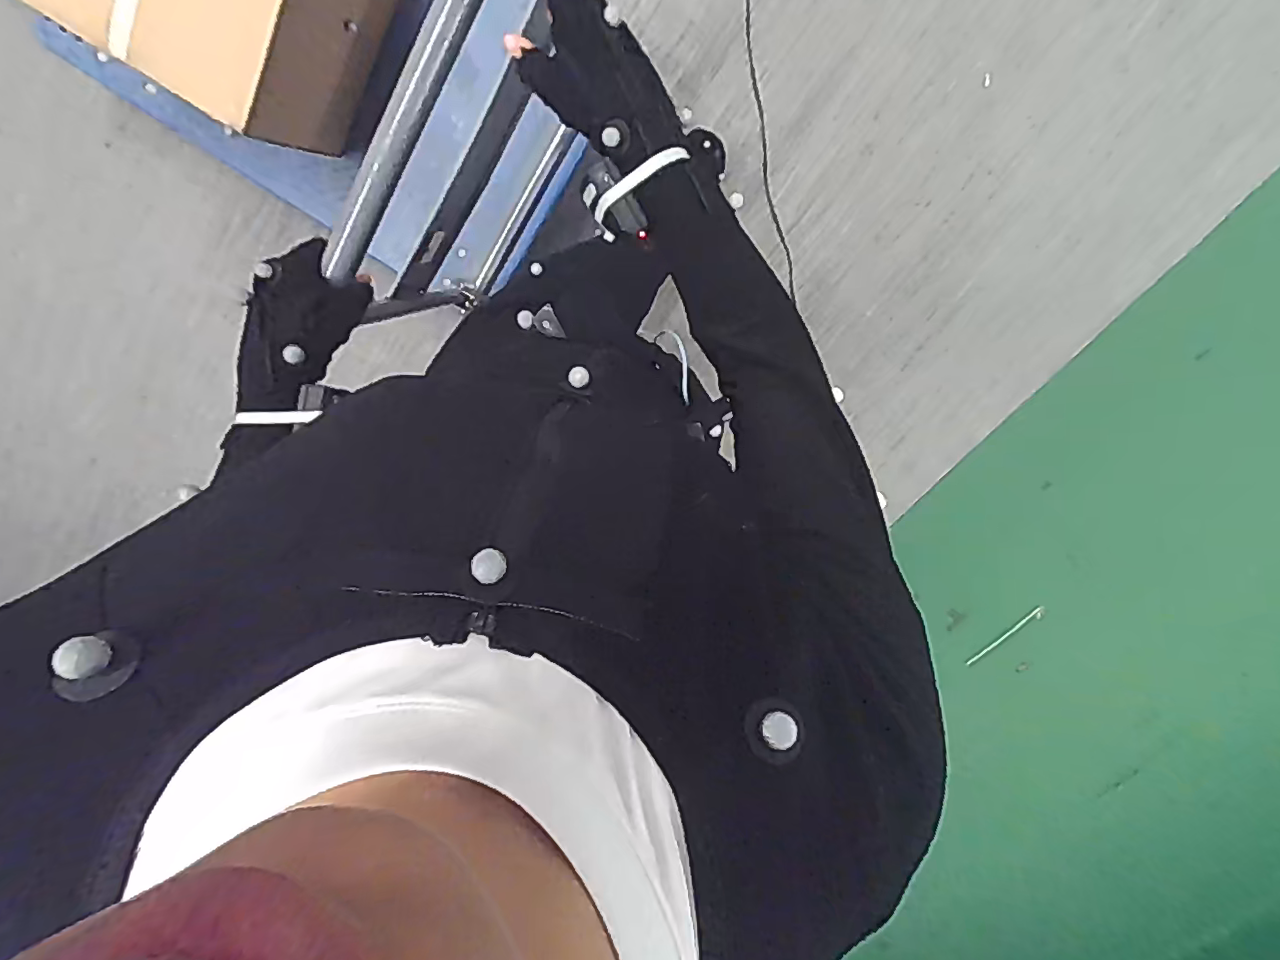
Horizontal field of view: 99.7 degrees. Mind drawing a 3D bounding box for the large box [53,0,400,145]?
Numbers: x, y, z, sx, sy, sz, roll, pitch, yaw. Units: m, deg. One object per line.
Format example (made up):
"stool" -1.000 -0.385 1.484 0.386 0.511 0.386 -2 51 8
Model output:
"large box" -0.564 -0.787 0.784 0.320 0.320 0.408 29 112 -15
